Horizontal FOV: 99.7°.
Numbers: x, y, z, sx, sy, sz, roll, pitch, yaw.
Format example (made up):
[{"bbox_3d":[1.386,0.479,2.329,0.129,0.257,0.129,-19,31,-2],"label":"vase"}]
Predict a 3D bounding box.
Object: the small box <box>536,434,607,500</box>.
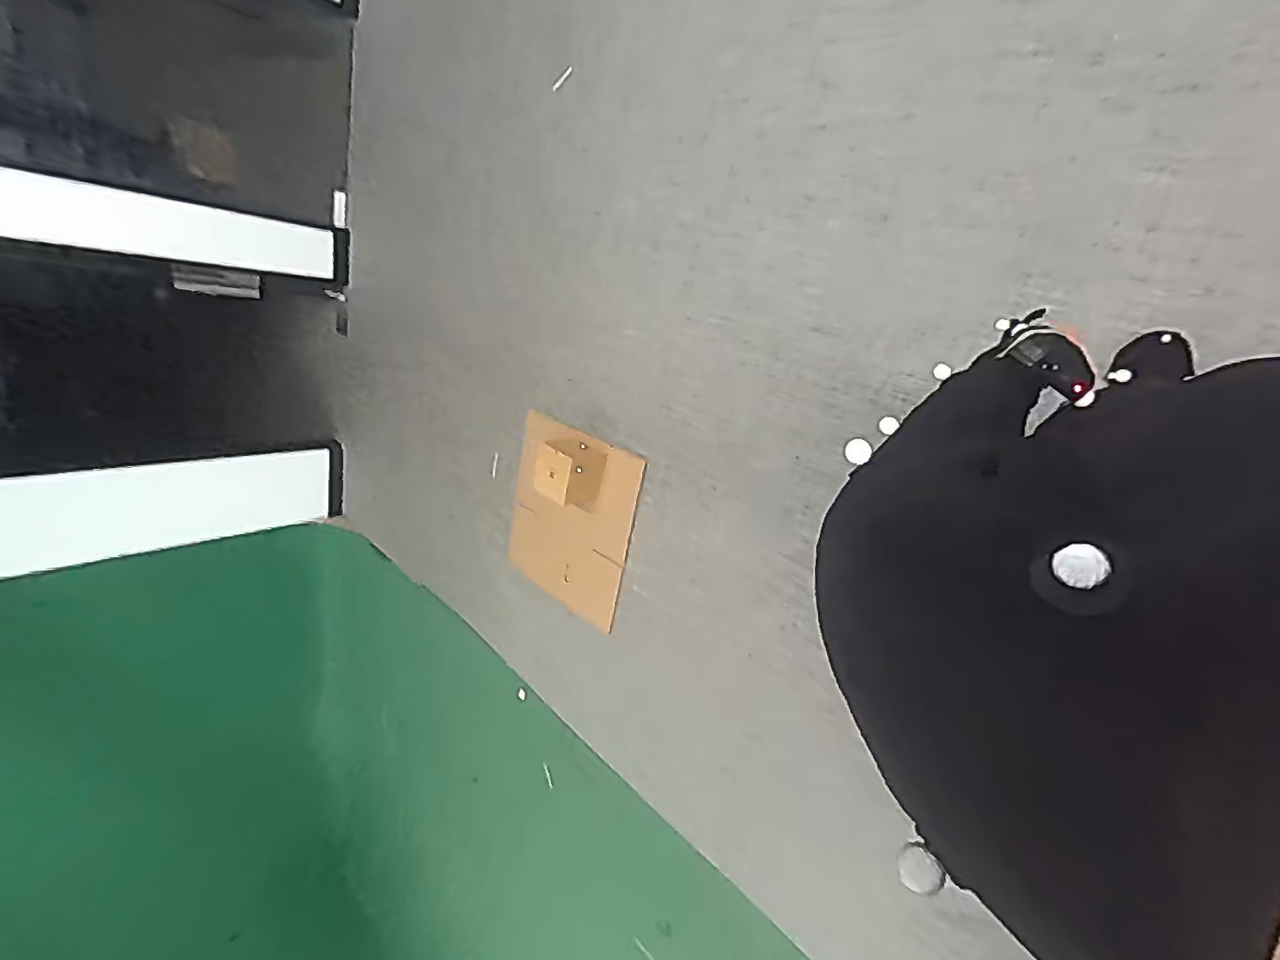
[{"bbox_3d":[-0.236,-0.051,1.881,0.168,0.176,0.179,28,114,33],"label":"small box"}]
